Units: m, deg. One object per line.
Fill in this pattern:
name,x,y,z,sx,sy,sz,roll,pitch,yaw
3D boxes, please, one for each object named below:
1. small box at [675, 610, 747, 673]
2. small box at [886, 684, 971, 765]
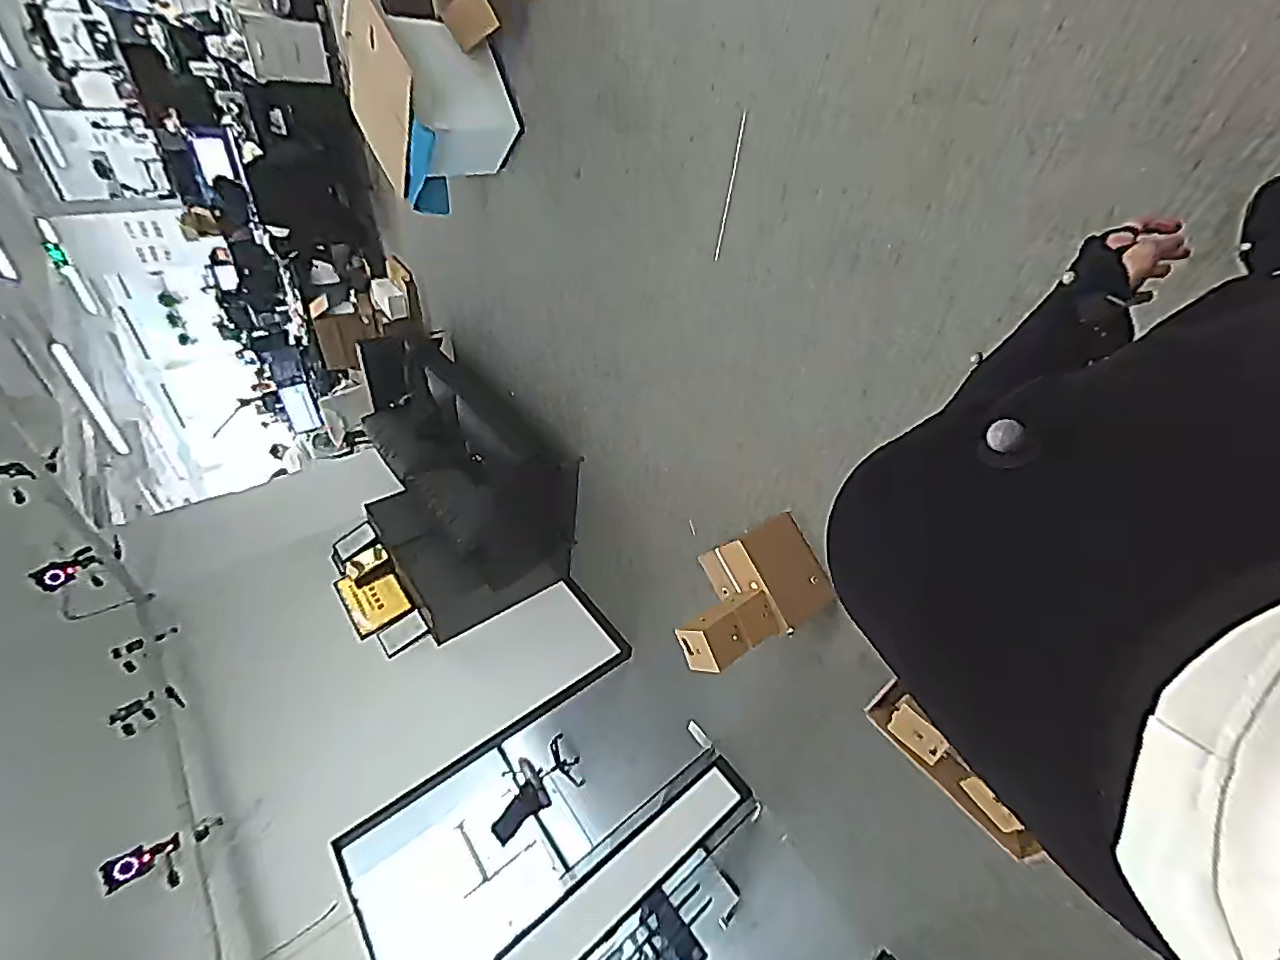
small box,0.266,0.597,2.017,0.179,0.176,0.168,-21,92,56
small box,1.009,0.845,1.892,0.179,0.176,0.168,39,138,35
